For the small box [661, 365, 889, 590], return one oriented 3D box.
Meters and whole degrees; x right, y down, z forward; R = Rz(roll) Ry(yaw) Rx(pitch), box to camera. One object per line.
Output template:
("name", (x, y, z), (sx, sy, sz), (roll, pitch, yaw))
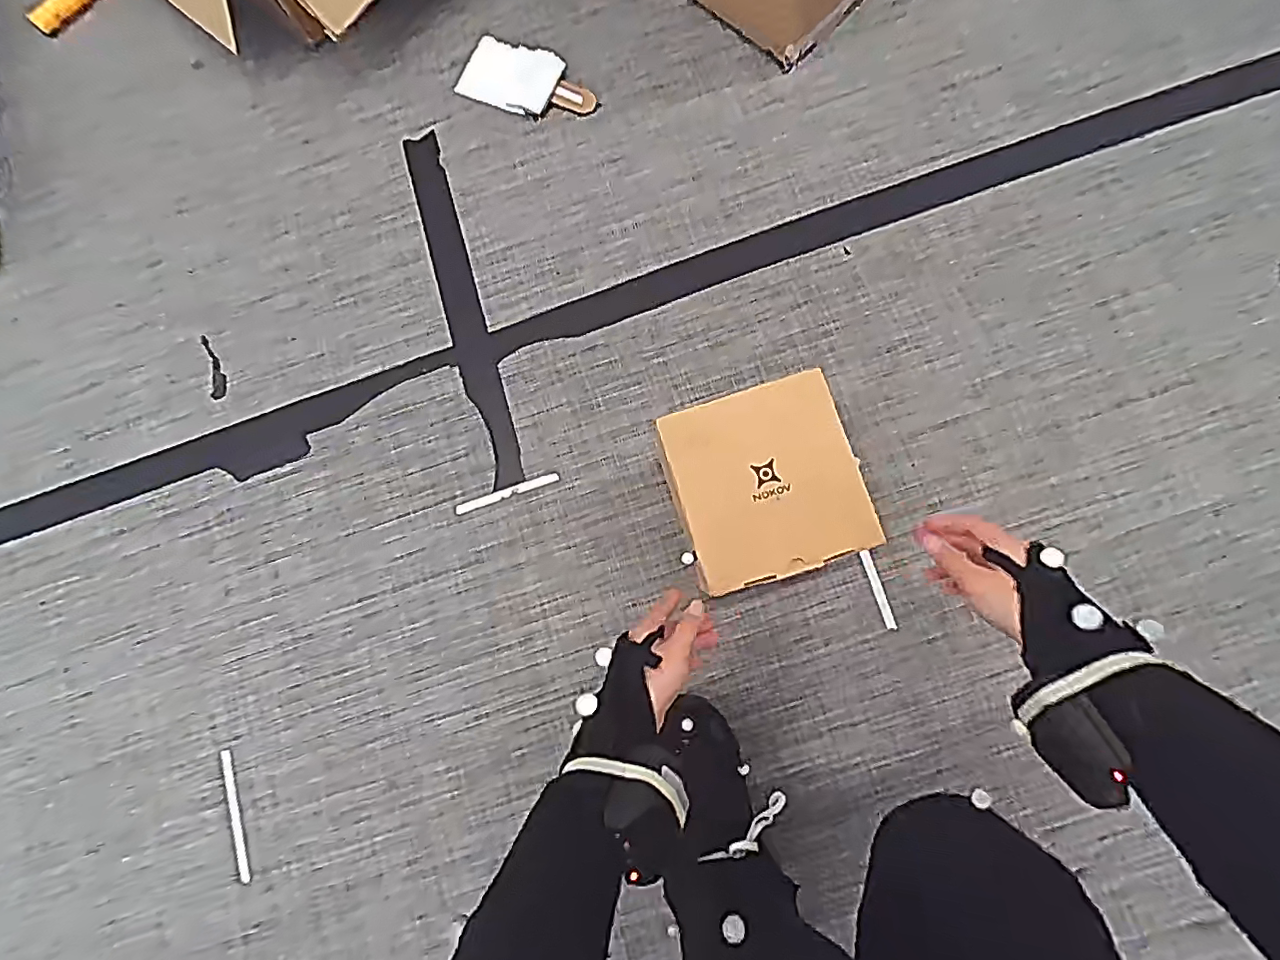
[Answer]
("small box", (0.122, 0.008, 0.570), (0.168, 0.176, 0.179), (-18, 81, 0))
